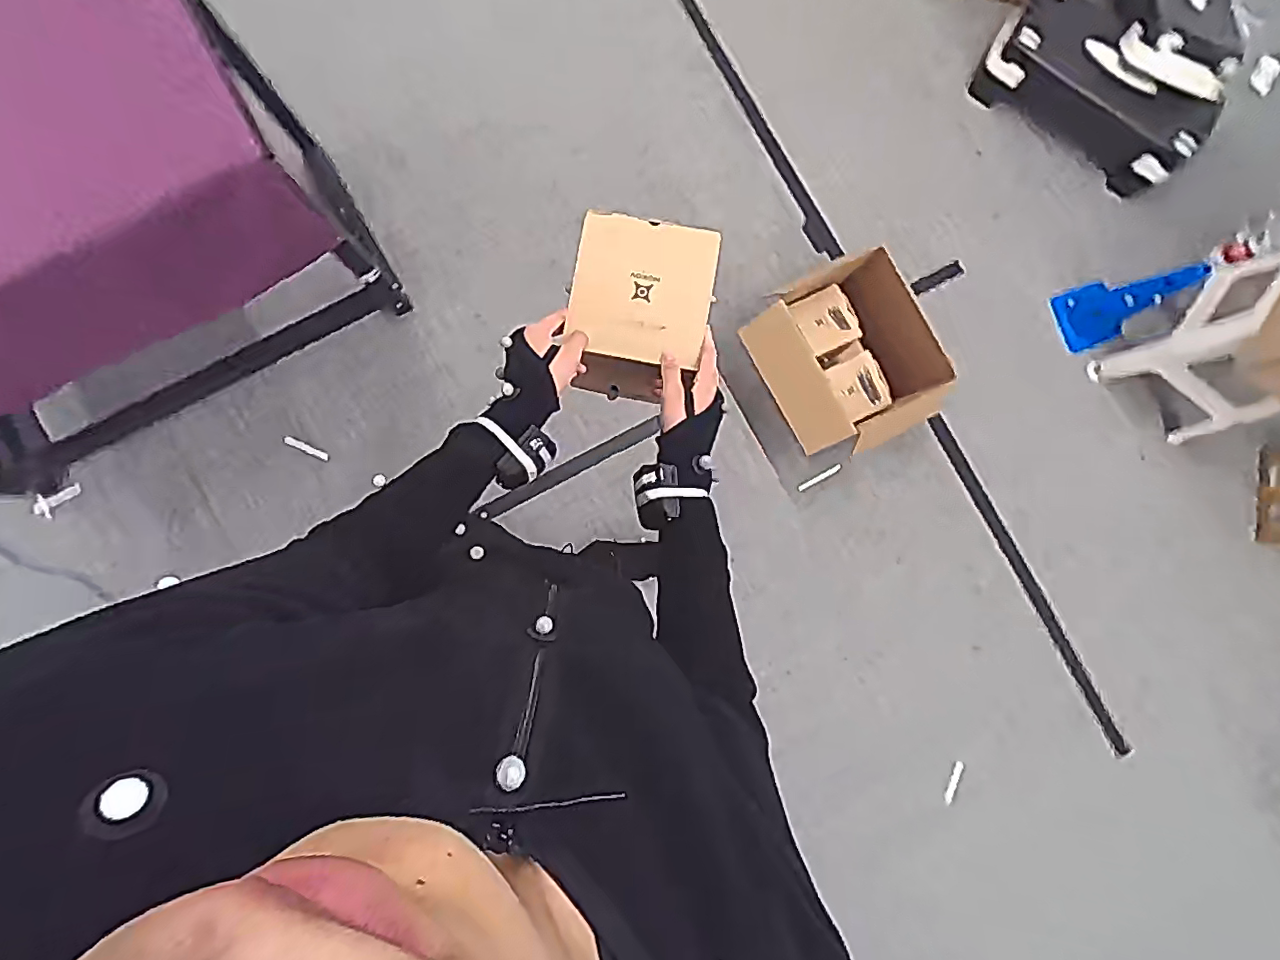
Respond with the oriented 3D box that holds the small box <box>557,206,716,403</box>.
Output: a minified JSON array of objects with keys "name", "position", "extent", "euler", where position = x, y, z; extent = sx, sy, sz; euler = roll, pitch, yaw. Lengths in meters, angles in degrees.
[{"name":"small box","position":[-0.008,-0.218,0.713],"extent":[0.168,0.176,0.179],"euler":[10,82,-2]}]
